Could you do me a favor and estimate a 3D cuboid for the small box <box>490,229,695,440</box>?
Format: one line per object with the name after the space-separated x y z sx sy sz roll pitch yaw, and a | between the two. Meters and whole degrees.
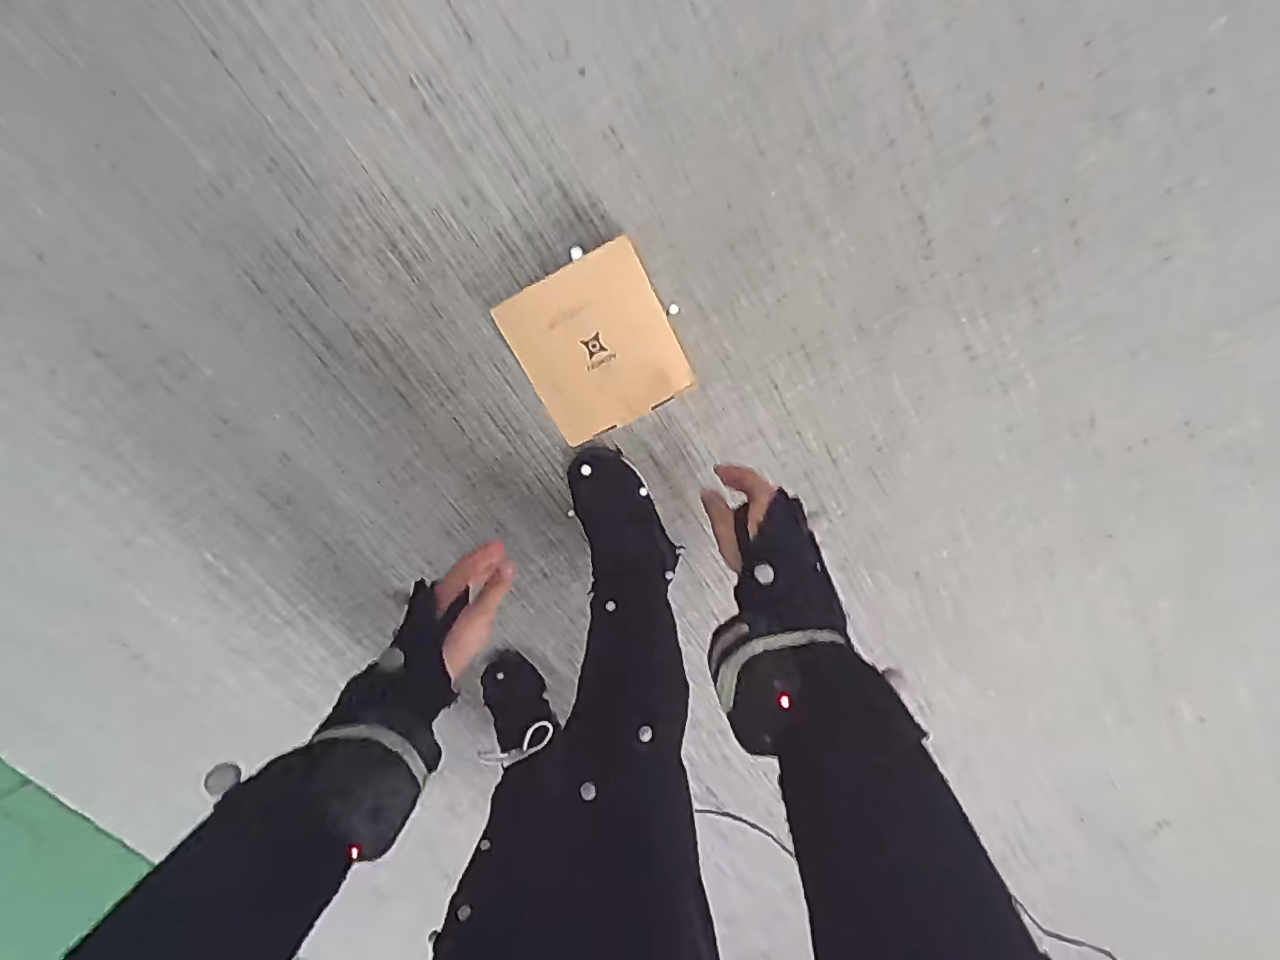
-0.046 -0.178 0.648 0.168 0.176 0.179 -25 110 11 | small box
